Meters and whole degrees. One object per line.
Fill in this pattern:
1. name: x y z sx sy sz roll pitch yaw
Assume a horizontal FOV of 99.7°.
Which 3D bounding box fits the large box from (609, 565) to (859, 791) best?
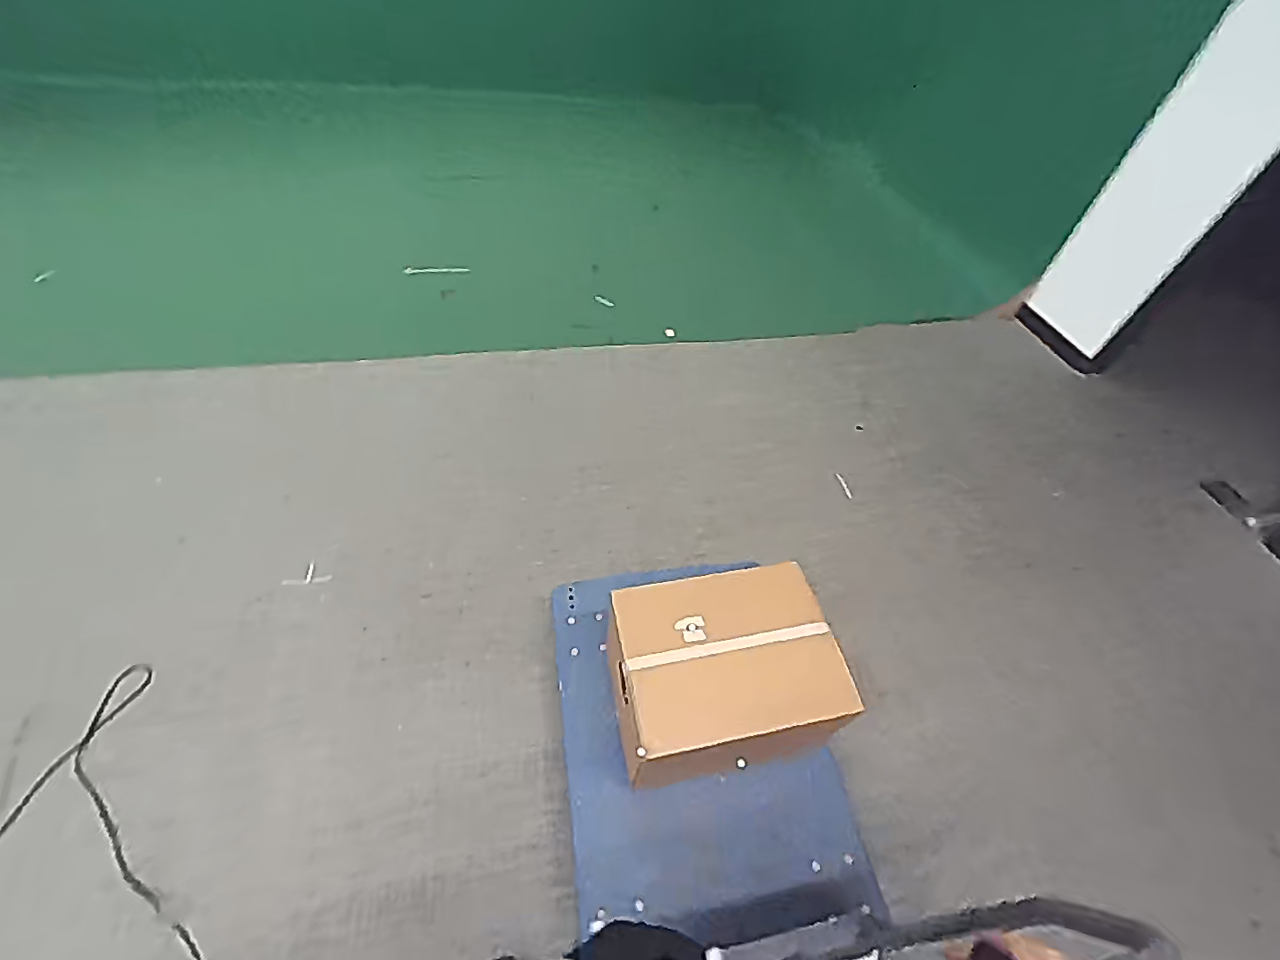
1. large box: 0.161 0.415 1.133 0.408 0.320 0.320 -7 51 -11
